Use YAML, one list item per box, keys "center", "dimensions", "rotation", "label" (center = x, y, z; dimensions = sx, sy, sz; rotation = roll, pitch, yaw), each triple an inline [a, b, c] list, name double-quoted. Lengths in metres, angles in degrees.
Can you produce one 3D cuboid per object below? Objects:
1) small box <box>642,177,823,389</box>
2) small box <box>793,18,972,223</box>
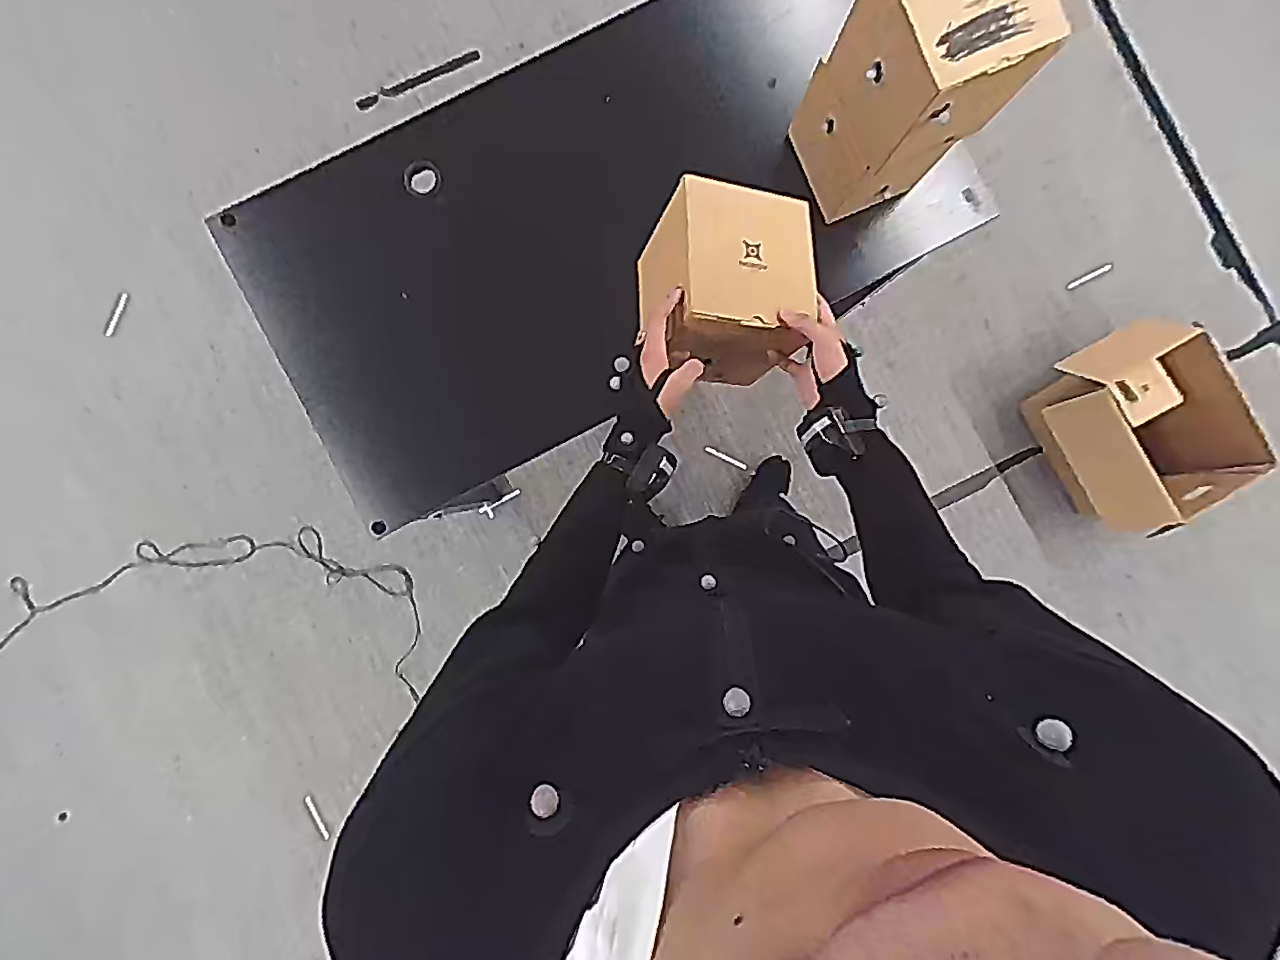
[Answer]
- center: [0.104, -0.233, 0.683]
  dimensions: [0.168, 0.176, 0.179]
  rotation: [3, 78, -19]
  label: "small box"
- center: [0.360, -0.542, 0.840]
  dimensions: [0.168, 0.176, 0.179]
  rotation: [-23, 90, -1]
  label: "small box"
